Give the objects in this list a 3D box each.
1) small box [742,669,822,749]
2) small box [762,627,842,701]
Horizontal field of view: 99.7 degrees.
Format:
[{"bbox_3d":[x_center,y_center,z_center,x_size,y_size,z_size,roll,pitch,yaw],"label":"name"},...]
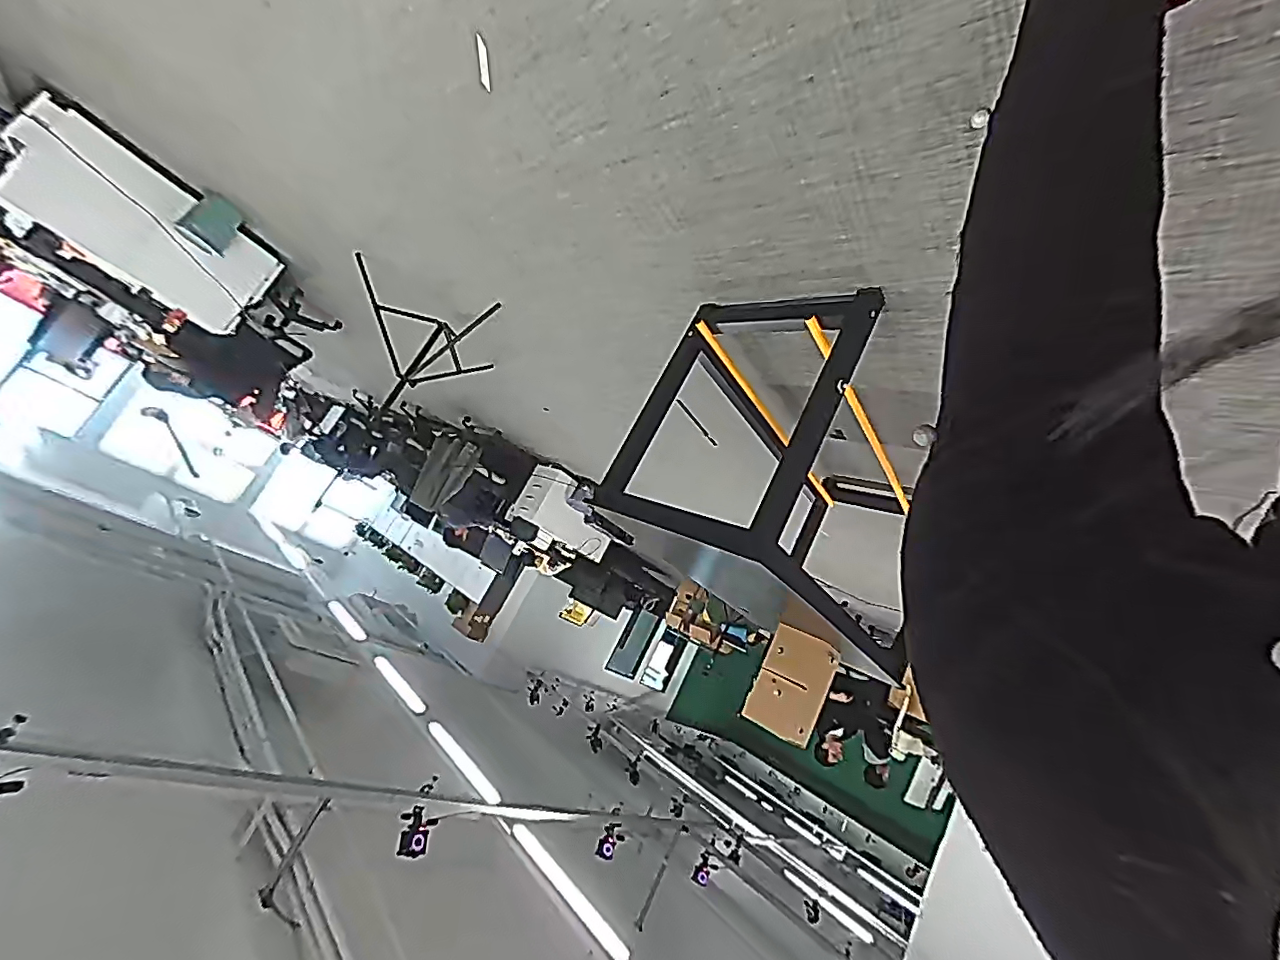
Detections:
[{"bbox_3d":[0.474,0.753,1.785,0.168,0.176,0.179,14,161,46],"label":"small box"},{"bbox_3d":[0.549,0.612,1.824,0.179,0.176,0.168,14,161,45],"label":"small box"}]
